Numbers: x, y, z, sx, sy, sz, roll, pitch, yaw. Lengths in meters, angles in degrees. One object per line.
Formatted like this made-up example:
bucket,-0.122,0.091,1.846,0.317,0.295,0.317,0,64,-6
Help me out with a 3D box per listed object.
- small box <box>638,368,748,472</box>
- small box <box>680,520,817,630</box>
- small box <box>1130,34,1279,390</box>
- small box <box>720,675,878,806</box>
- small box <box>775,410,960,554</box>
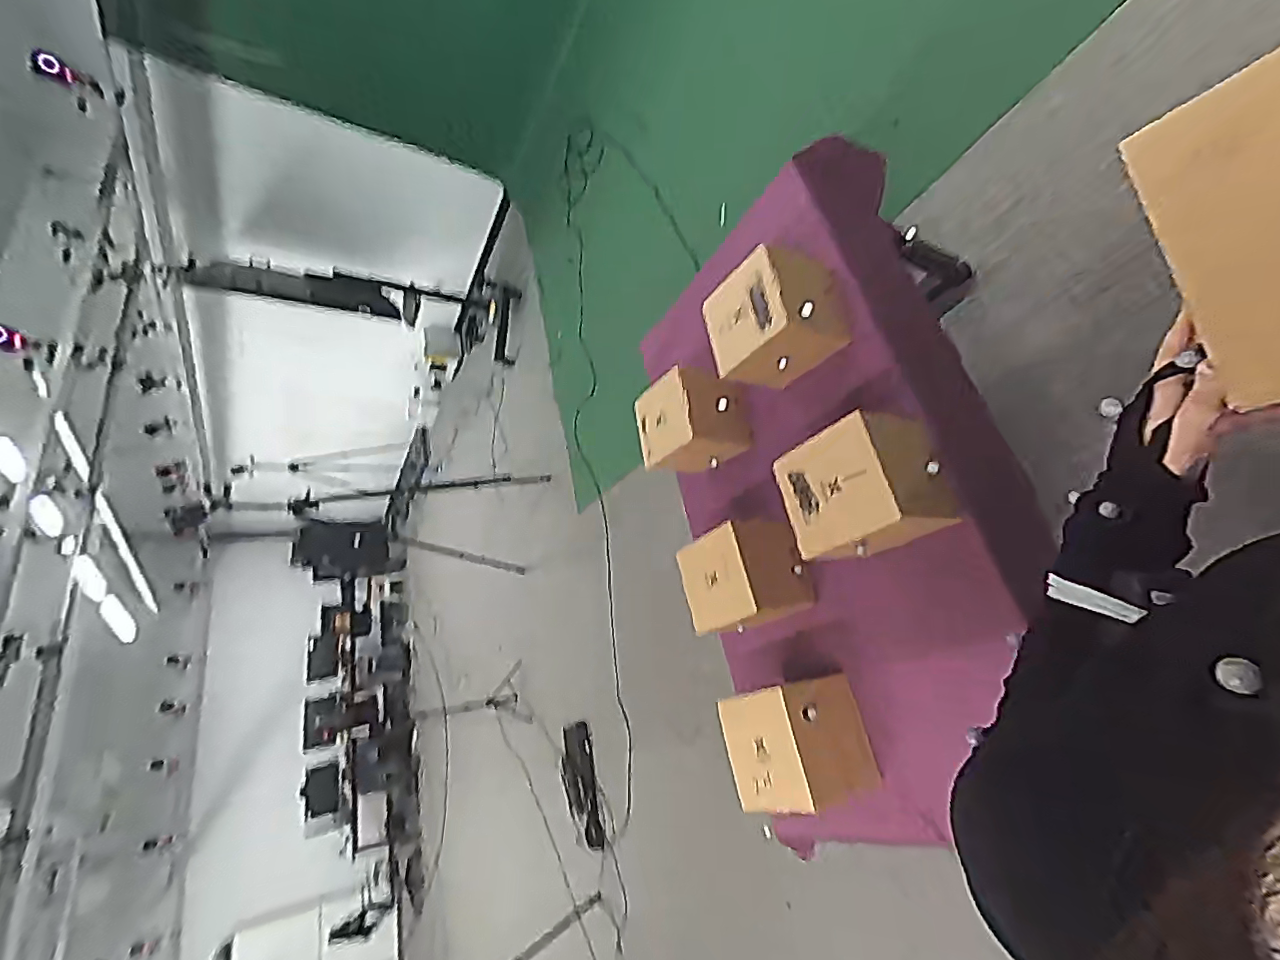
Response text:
small box,0.121,-0.125,1.202,0.179,0.176,0.168,-32,60,50
small box,0.207,0.186,1.049,0.179,0.176,0.168,-40,56,48
small box,0.423,-0.160,0.307,0.168,0.176,0.179,-23,77,49
small box,0.269,0.439,0.927,0.168,0.176,0.179,-41,54,48
small box,0.349,0.012,0.841,0.179,0.176,0.168,-40,56,48
